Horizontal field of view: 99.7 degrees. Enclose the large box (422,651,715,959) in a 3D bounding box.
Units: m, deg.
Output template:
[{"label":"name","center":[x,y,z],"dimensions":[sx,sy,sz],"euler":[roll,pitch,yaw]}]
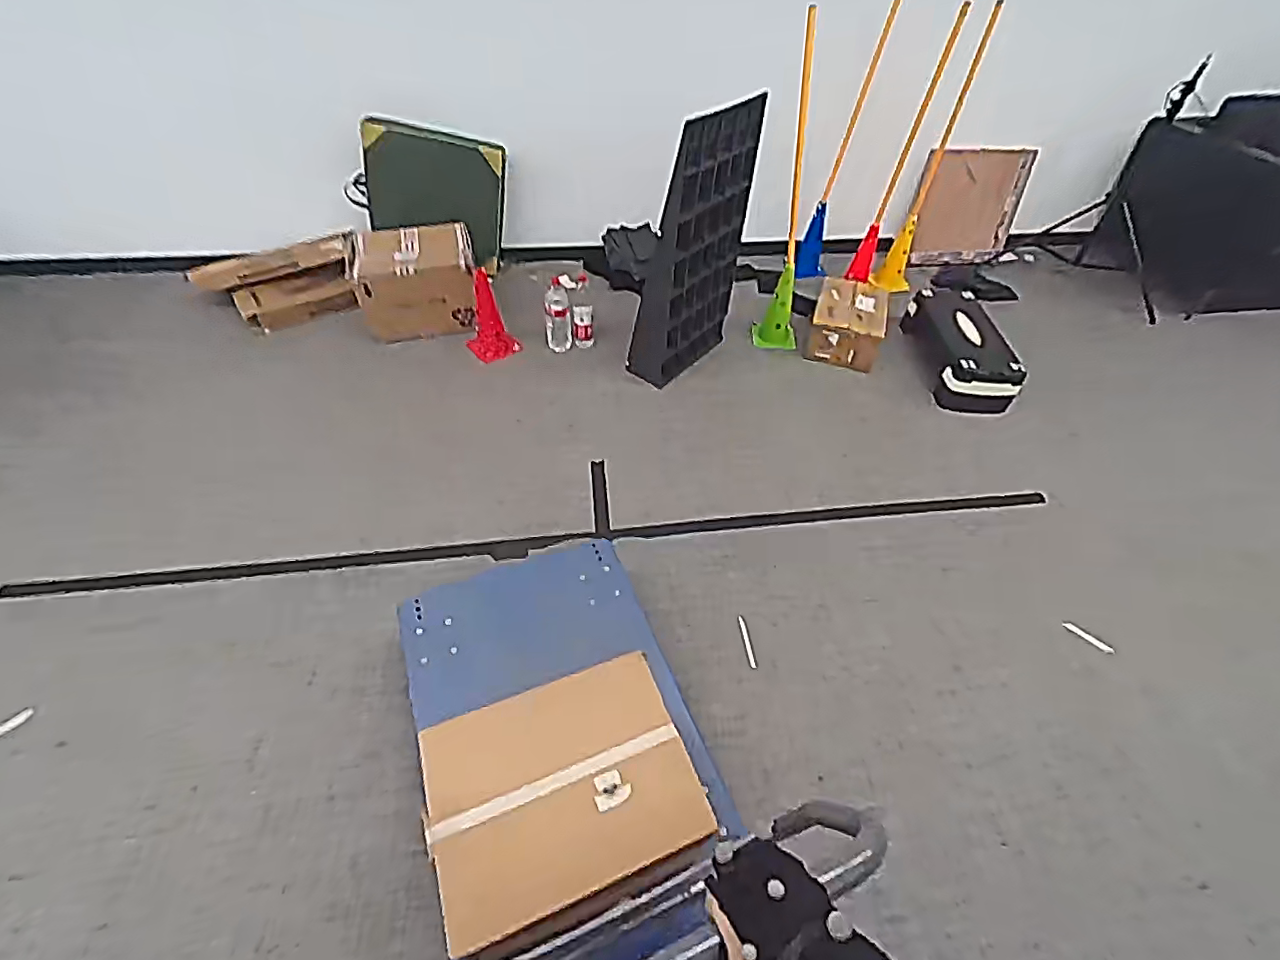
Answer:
[{"label":"large box","center":[-0.132,0.577,0.970],"dimensions":[0.408,0.320,0.320],"euler":[-15,51,-18]}]
